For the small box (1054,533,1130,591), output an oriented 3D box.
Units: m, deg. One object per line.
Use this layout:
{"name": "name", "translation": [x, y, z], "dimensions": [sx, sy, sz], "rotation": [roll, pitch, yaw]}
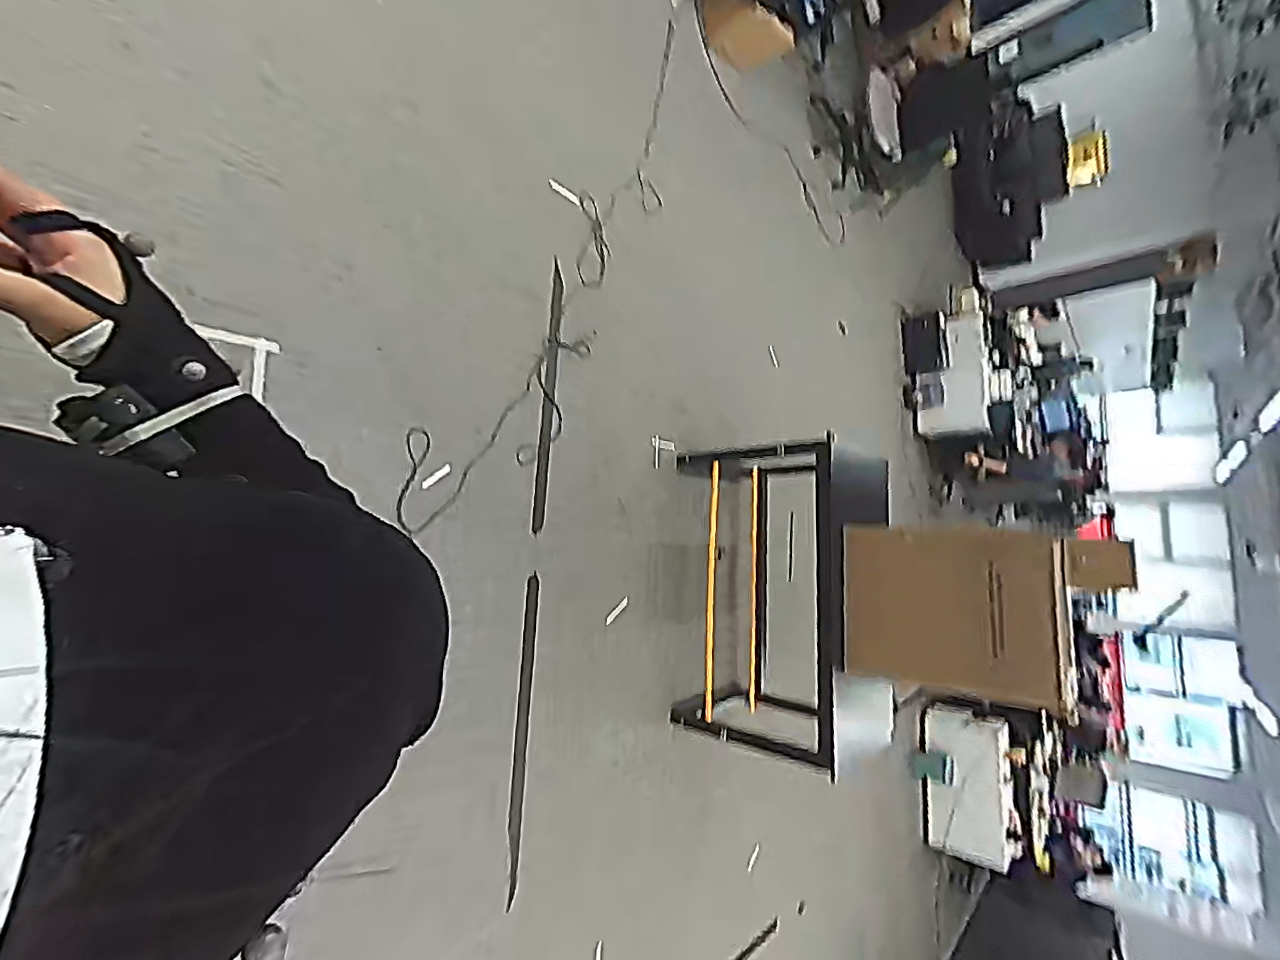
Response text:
{"name": "small box", "translation": [1.388, 0.250, 1.663], "dimensions": [0.179, 0.176, 0.168], "rotation": [10, 79, -48]}
